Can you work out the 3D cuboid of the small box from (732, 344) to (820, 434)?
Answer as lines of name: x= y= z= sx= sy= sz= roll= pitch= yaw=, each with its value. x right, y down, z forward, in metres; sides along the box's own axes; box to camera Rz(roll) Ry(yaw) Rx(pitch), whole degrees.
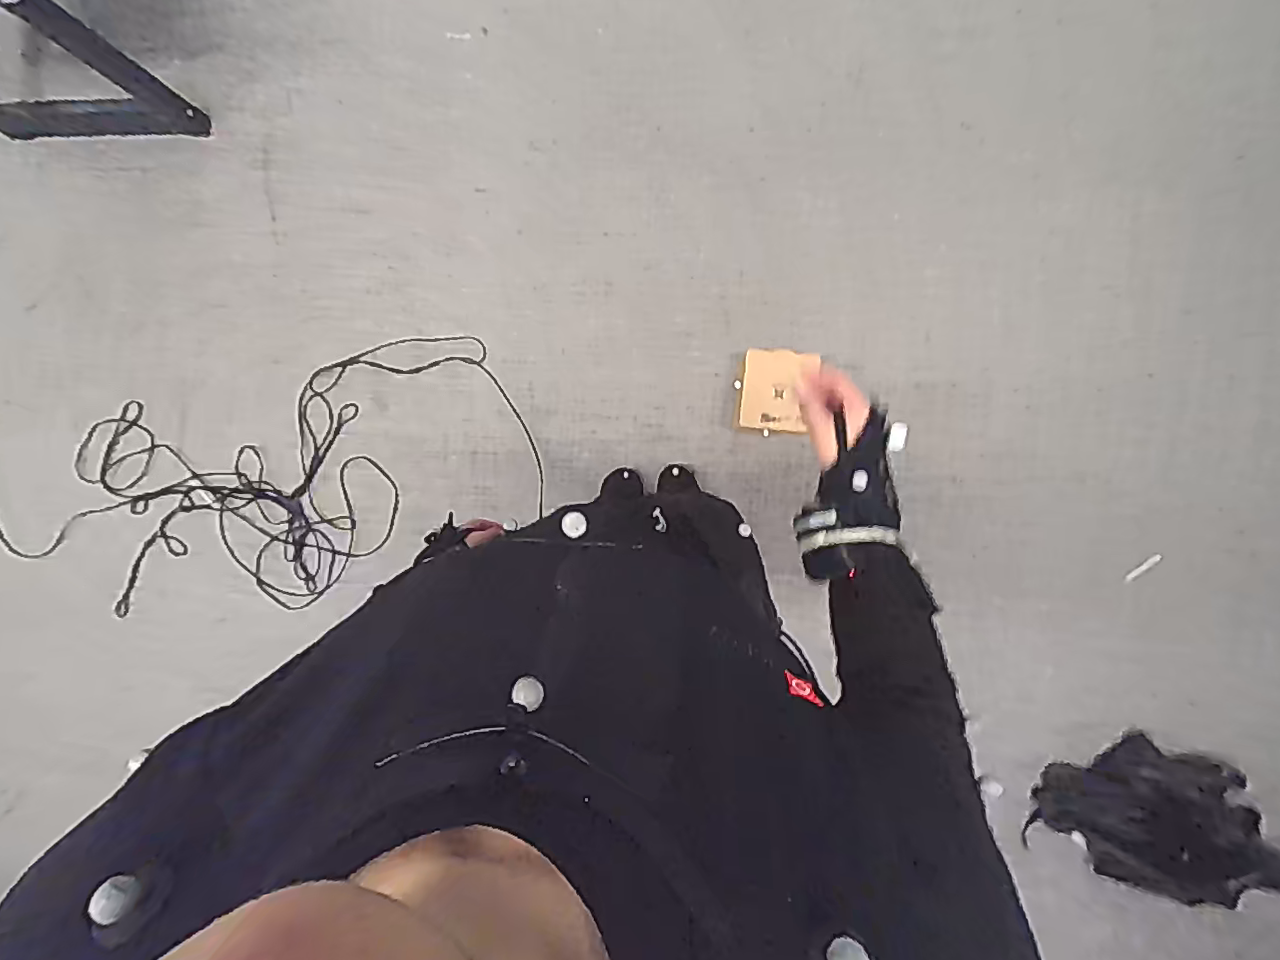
small box: x=0.313 y=-0.208 z=1.274 sx=0.168 sy=0.176 sz=0.179 roll=5 pitch=91 yaw=4
